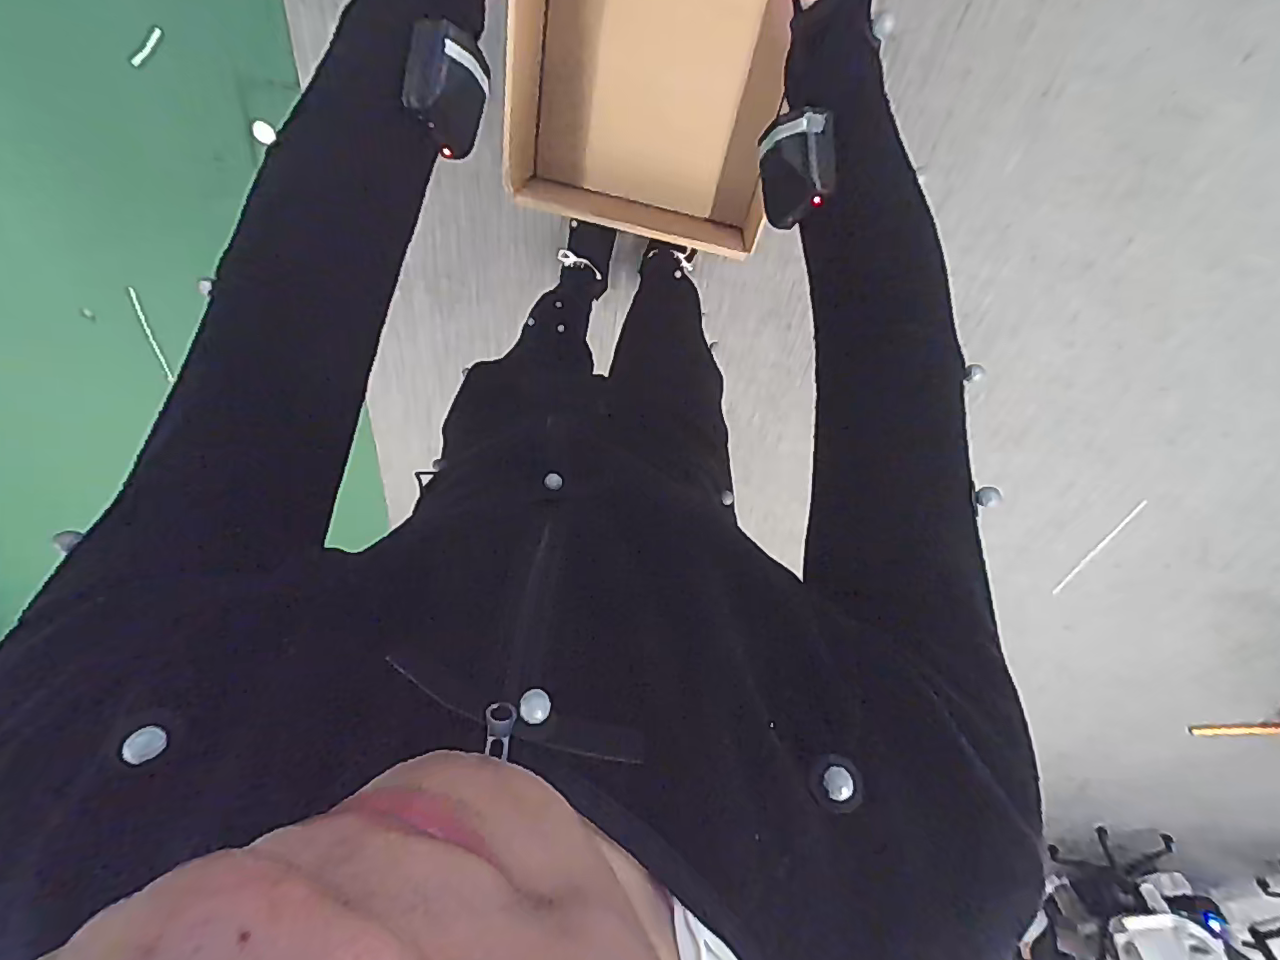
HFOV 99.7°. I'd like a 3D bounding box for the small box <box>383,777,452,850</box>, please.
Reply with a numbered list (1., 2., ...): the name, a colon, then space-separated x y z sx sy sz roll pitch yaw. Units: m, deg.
1. small box: -0.773 1.160 1.884 0.179 0.176 0.168 18 130 -8
